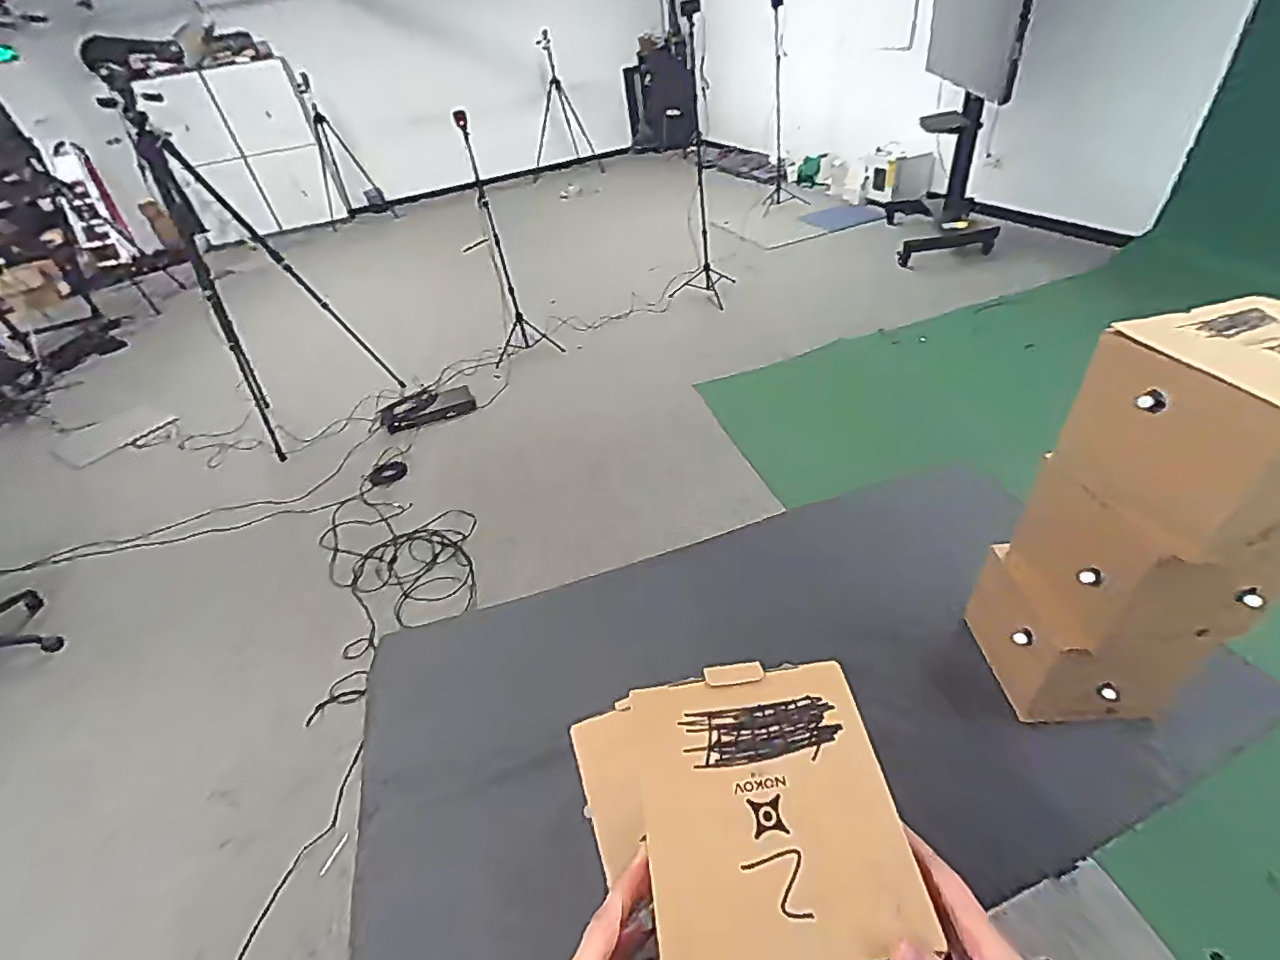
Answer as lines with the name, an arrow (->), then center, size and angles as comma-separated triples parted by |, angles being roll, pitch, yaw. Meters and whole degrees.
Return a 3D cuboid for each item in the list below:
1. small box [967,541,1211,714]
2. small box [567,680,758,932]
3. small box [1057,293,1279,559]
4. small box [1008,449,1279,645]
small box -> 0.571, 0.194, 0.722 | 0.168, 0.176, 0.179 | -6, 37, 6
small box -> 0.026, 0.379, 0.637 | 0.168, 0.176, 0.179 | -19, 39, -9
small box -> 0.552, -0.054, 0.511 | 0.168, 0.176, 0.179 | -12, 39, -2
small box -> 0.567, 0.070, 0.617 | 0.168, 0.176, 0.179 | -8, 37, 2
